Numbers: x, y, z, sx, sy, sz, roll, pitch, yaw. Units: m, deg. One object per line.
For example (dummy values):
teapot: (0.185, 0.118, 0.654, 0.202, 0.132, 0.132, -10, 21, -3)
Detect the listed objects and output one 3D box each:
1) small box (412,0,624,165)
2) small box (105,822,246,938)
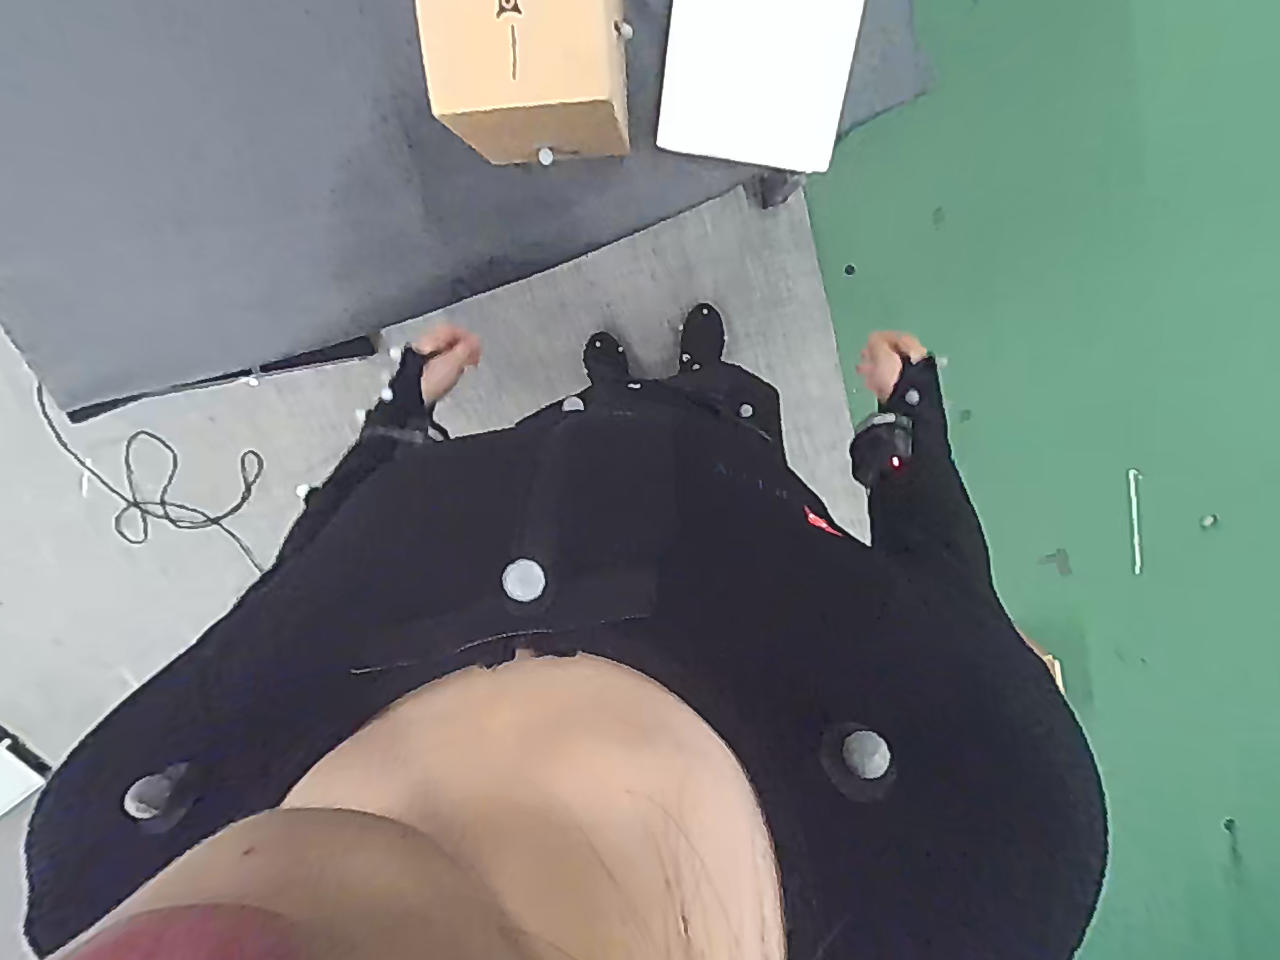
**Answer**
small box: (-0.109, -0.437, 0.537, 0.168, 0.176, 0.179, -2, 108, 6)
small box: (-1.154, 0.999, 1.358, 0.179, 0.176, 0.168, -14, 107, 10)
